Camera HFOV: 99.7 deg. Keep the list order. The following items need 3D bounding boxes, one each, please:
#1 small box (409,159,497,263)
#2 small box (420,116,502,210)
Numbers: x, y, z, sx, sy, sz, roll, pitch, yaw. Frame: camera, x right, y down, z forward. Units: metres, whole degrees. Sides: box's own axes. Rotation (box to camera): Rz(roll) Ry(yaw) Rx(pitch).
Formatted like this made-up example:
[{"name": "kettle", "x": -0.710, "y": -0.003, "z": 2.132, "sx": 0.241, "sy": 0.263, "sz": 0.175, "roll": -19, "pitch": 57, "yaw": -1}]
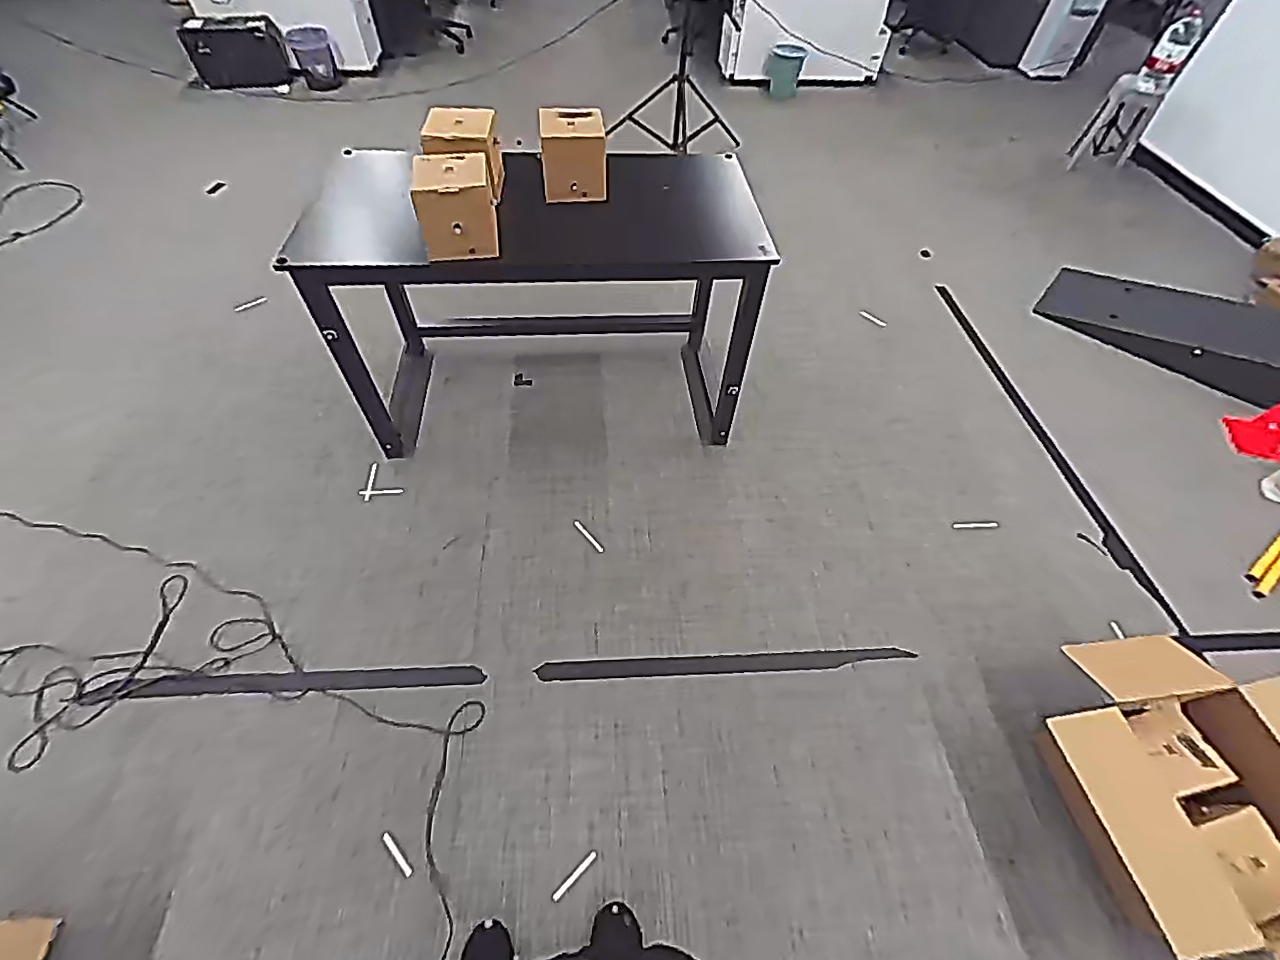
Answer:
[{"name": "small box", "x": -0.439, "y": -0.637, "z": 1.293, "sx": 0.168, "sy": 0.176, "sz": 0.179, "roll": -8, "pitch": 54, "yaw": -8}, {"name": "small box", "x": -0.472, "y": -0.851, "z": 1.455, "sx": 0.168, "sy": 0.176, "sz": 0.179, "roll": -2, "pitch": 54, "yaw": -4}]
